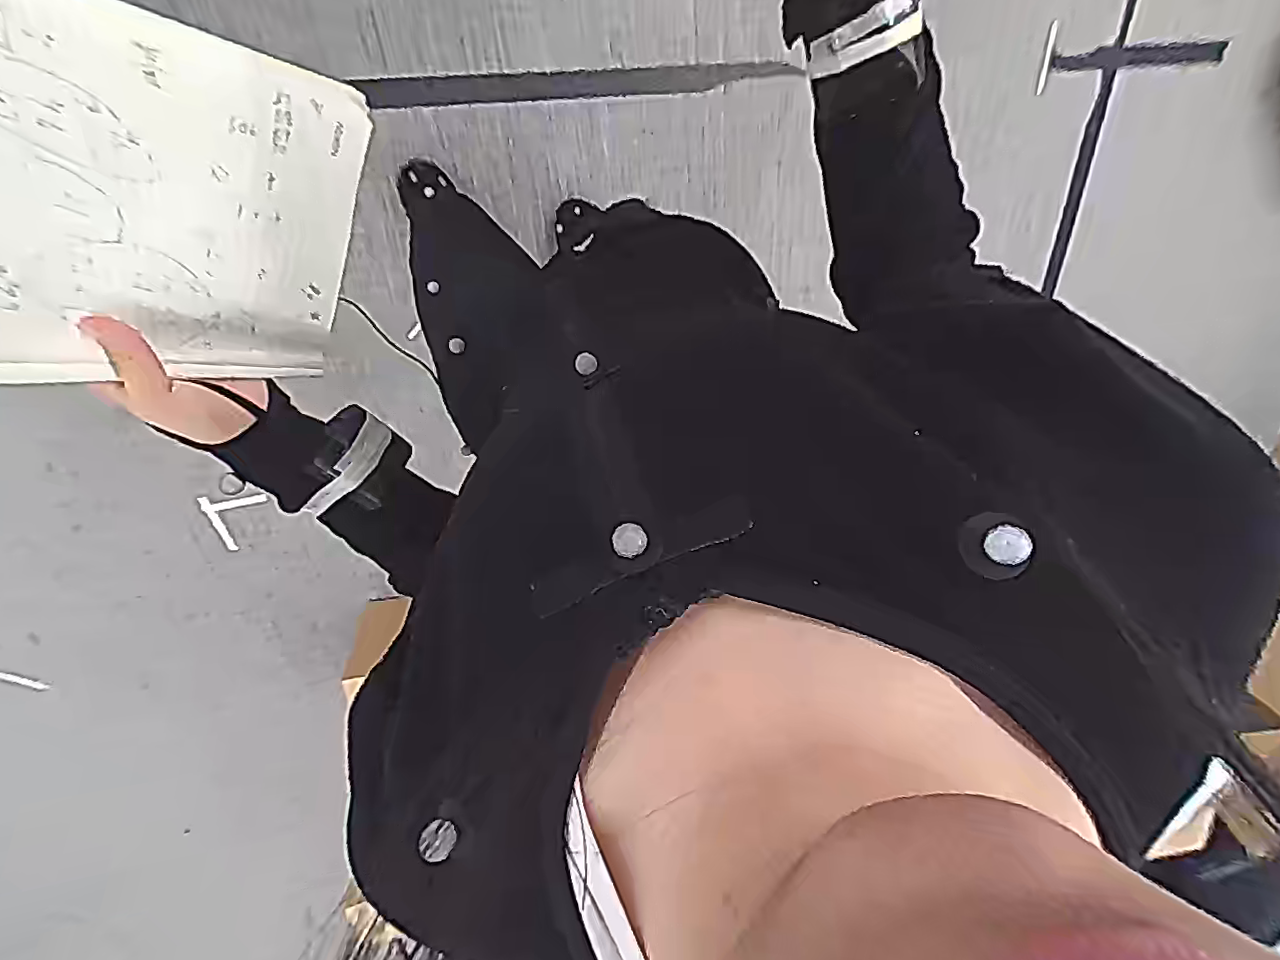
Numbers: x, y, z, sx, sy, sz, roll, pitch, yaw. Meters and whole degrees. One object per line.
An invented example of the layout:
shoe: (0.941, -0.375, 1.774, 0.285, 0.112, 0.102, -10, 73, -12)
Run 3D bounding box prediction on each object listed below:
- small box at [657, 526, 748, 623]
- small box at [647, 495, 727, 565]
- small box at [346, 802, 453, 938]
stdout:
small box: (0.168, 0.263, 1.535, 0.168, 0.176, 0.179, 35, 108, -27)
small box: (0.136, 0.181, 1.675, 0.168, 0.176, 0.179, 34, 109, -27)
small box: (-0.500, 0.826, 1.153, 0.168, 0.176, 0.179, -5, 121, -11)
